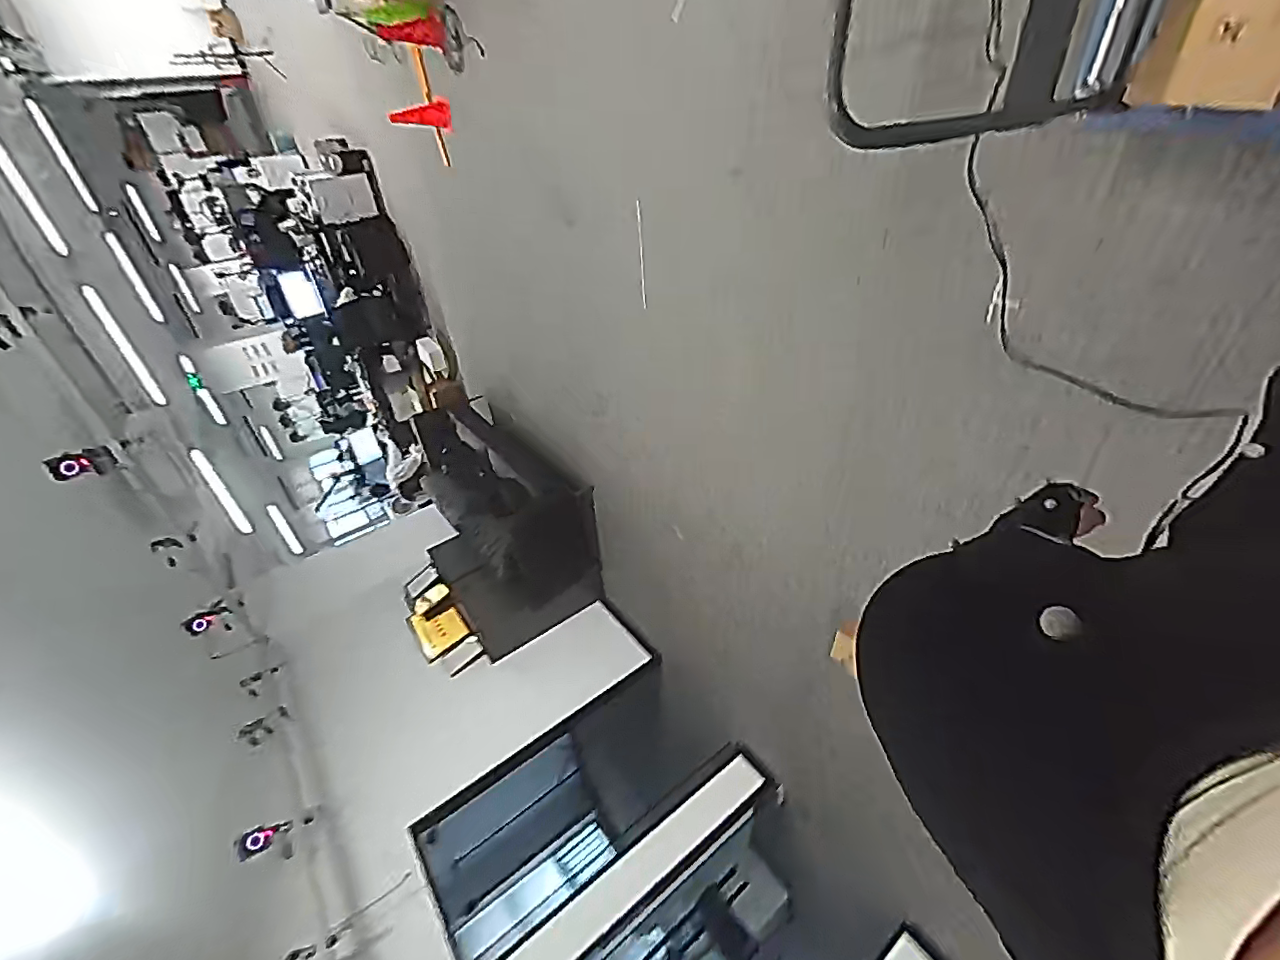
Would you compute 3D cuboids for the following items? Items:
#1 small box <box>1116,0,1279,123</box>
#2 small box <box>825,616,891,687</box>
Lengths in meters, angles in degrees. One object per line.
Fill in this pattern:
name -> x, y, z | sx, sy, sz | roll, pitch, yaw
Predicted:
small box -> 0.856, -0.622, 0.776 | 0.179, 0.176, 0.168 | 39, 143, 39
small box -> 0.882, 0.687, 2.185 | 0.168, 0.176, 0.179 | 39, 142, 40
